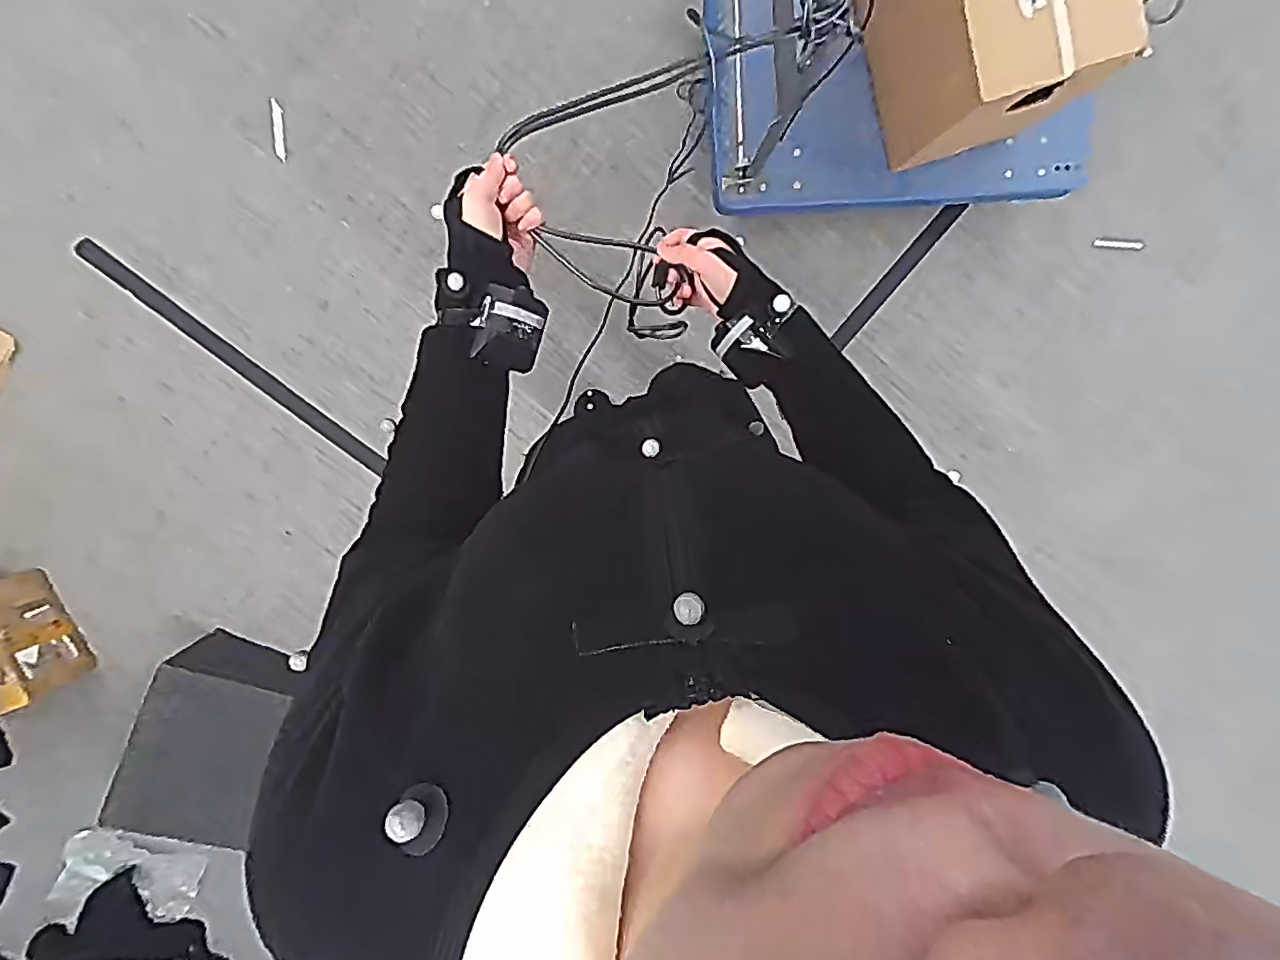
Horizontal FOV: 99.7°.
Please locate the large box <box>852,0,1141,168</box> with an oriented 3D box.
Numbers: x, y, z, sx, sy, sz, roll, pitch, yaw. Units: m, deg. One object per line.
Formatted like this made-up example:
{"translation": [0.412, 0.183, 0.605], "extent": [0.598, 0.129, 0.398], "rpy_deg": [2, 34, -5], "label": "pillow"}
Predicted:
{"translation": [0.662, -0.915, 1.056], "extent": [0.320, 0.320, 0.408], "rpy_deg": [-18, 101, 0], "label": "large box"}
